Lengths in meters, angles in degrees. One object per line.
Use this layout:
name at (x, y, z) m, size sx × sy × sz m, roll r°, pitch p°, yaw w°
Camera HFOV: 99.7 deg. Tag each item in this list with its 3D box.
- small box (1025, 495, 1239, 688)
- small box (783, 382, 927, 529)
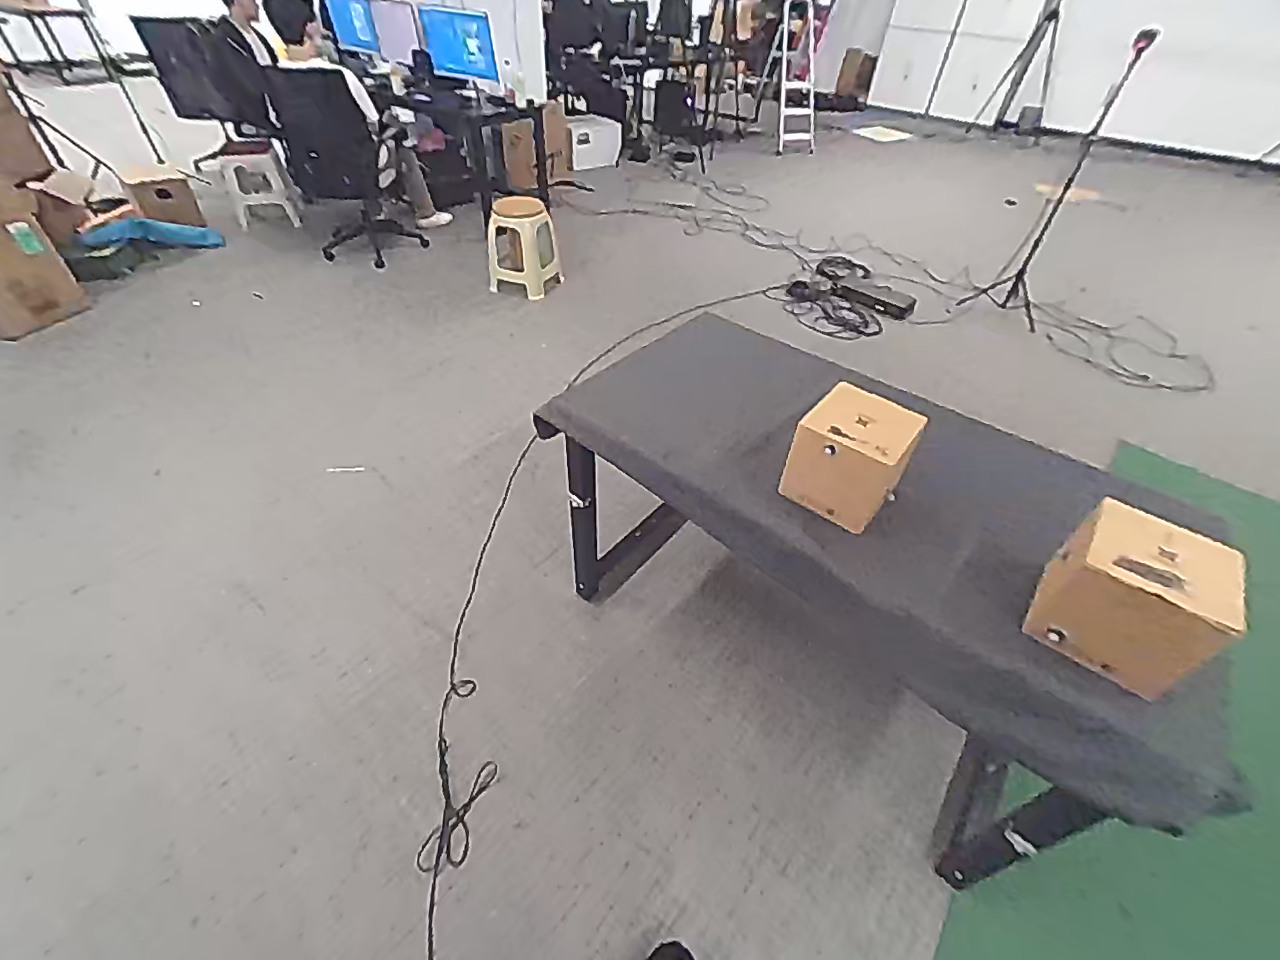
small box at (0.697, 0.160, 0.781) m, size 0.168 × 0.176 × 0.179 m, roll 32°, pitch 49°, yaw 28°
small box at (0.382, -0.045, 0.984) m, size 0.168 × 0.176 × 0.179 m, roll 31°, pitch 49°, yaw 27°
